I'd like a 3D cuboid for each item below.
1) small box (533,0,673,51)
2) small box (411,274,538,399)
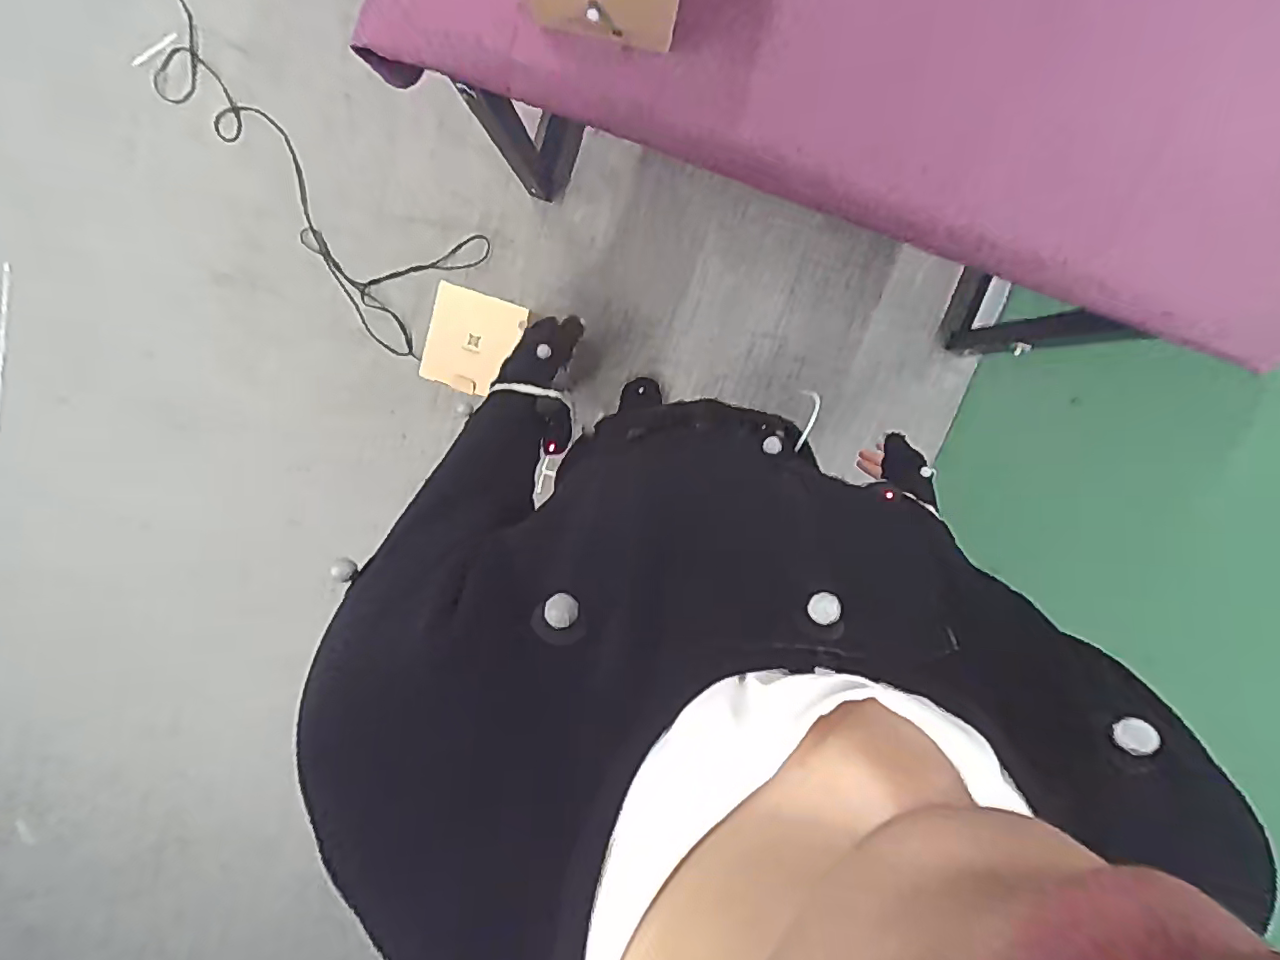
[{"bbox_3d":[-0.033,-0.602,0.554,0.168,0.176,0.179,14,99,-2],"label":"small box"},{"bbox_3d":[-0.304,-0.268,1.029,0.168,0.176,0.179,19,103,-2],"label":"small box"}]
